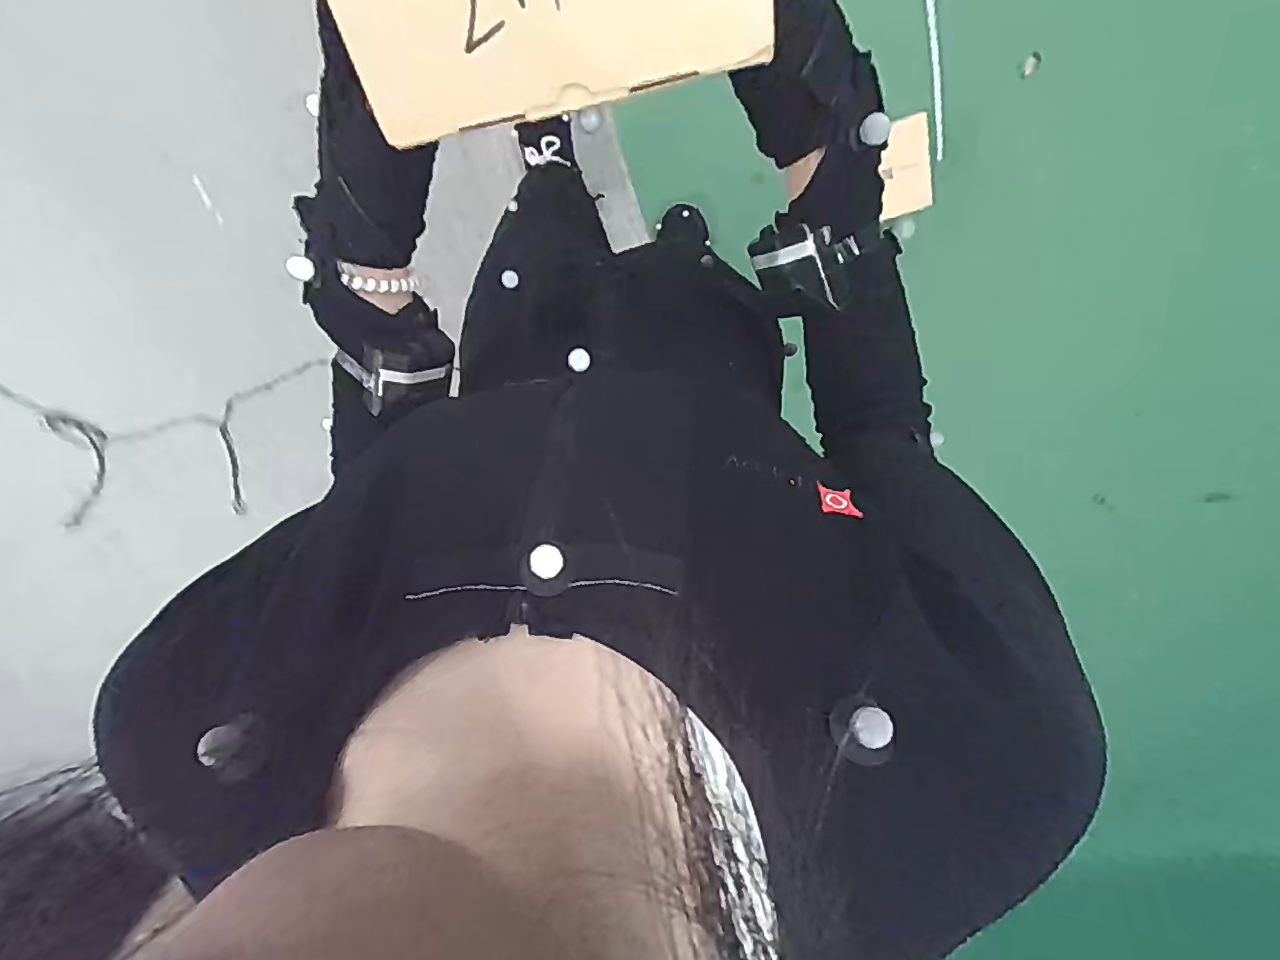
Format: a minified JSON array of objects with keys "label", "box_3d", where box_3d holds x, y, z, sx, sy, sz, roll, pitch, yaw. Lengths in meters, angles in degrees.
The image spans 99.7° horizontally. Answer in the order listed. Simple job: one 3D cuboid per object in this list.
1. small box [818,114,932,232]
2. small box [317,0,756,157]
[{"label":"small box","box_3d":[0.480,-0.630,1.127,0.179,0.176,0.168,-14,116,11]},{"label":"small box","box_3d":[-0.052,-0.268,0.243,0.168,0.176,0.179,-11,127,5]}]
